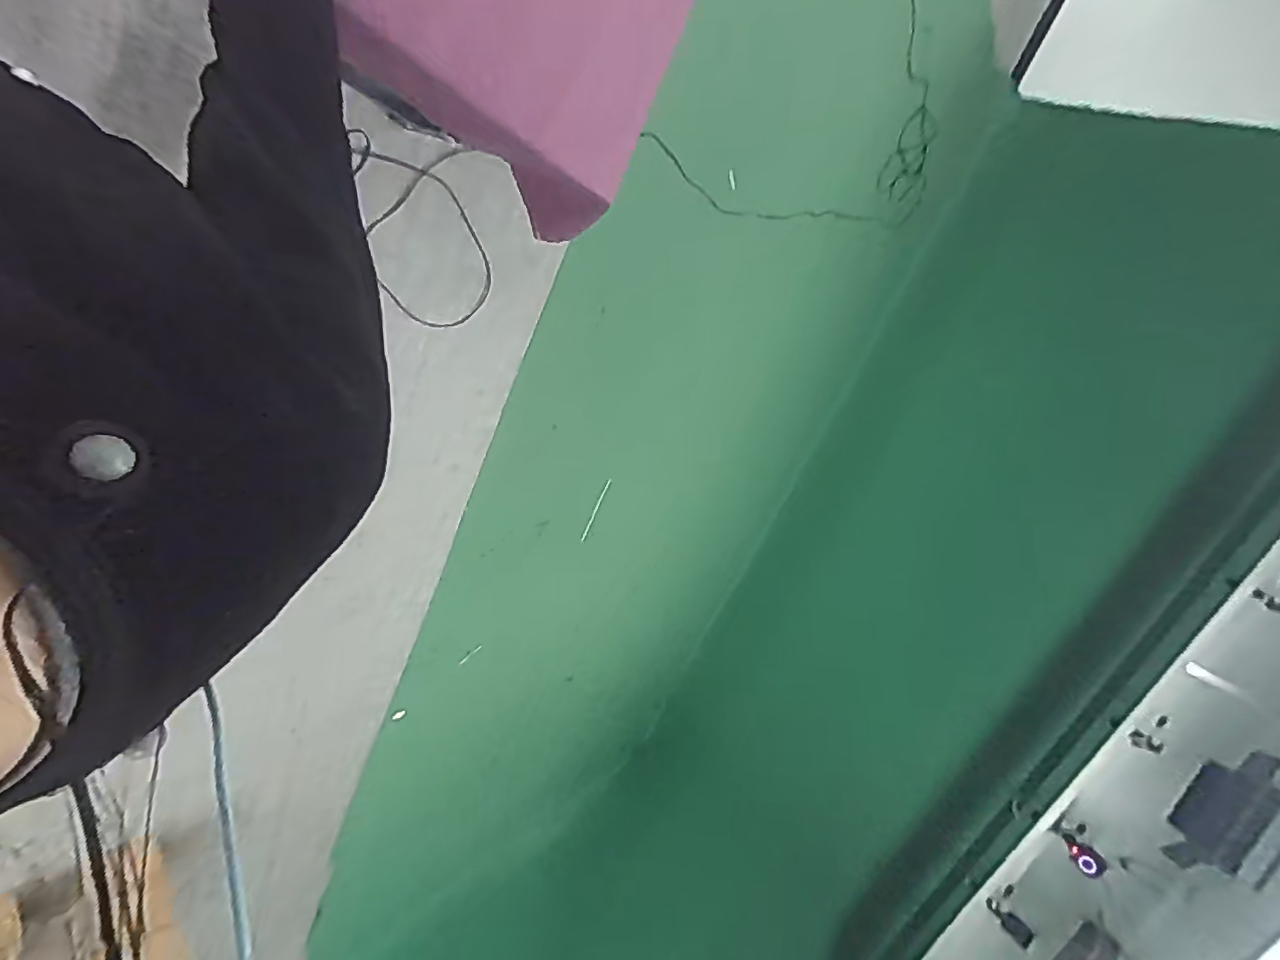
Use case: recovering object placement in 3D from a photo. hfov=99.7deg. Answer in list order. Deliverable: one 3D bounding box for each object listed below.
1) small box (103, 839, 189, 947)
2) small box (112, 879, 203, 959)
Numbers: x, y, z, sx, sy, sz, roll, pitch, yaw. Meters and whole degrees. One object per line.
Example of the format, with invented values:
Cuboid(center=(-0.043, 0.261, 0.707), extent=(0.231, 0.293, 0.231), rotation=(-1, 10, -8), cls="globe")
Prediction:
Cuboid(center=(-1.574, 1.304, 1.720), extent=(0.179, 0.176, 0.168), rotation=(-3, 120, -53), cls="small box")
Cuboid(center=(-1.456, 1.369, 1.627), extent=(0.179, 0.176, 0.168), rotation=(-3, 120, -53), cls="small box")
